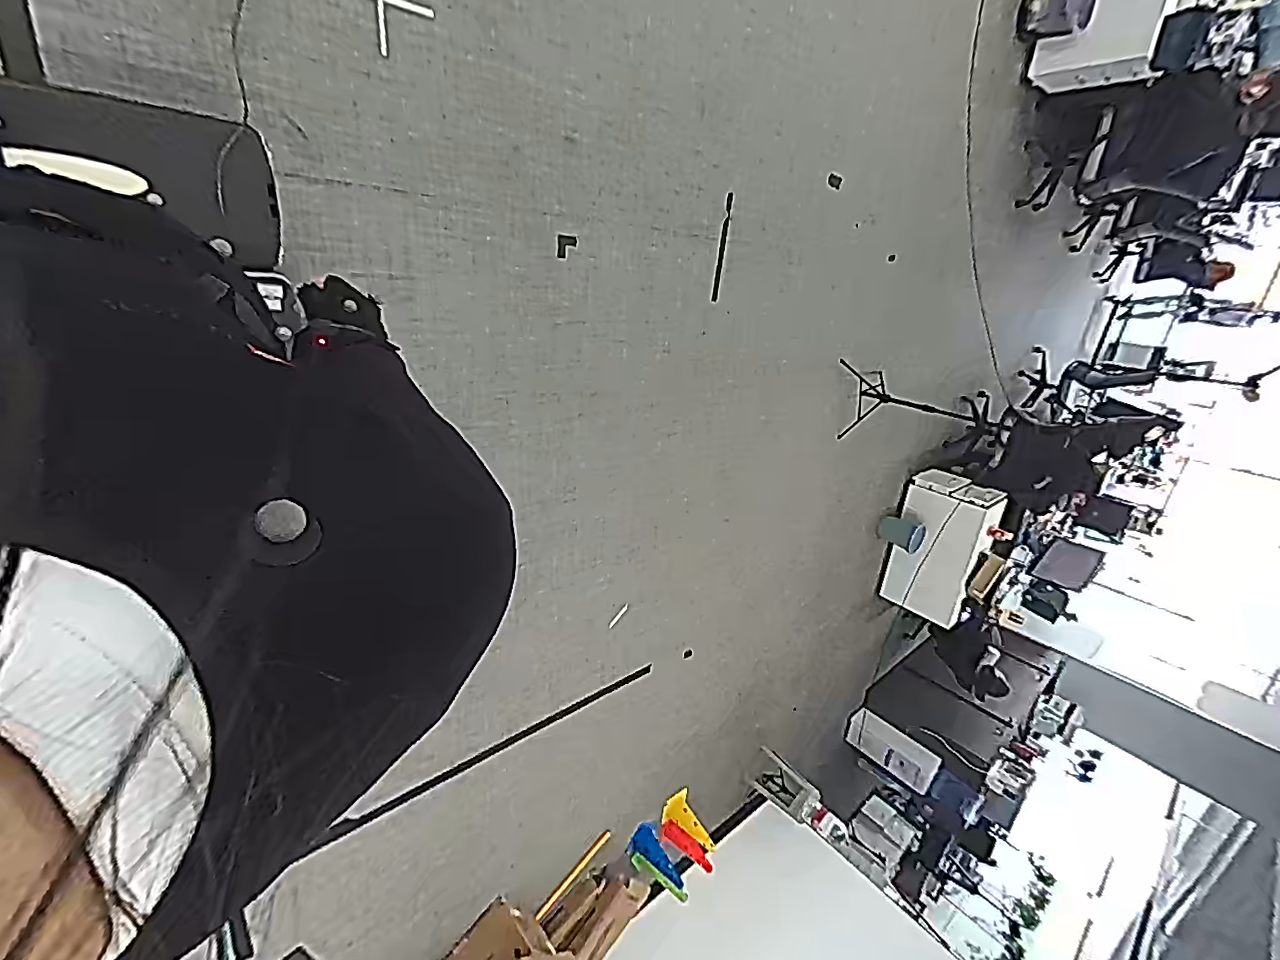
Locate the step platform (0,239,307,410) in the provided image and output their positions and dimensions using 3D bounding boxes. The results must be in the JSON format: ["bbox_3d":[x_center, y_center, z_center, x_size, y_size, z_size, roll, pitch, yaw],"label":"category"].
[{"bbox_3d":[-1.035,-0.299,1.030,0.684,0.204,0.286,-13,117,-38],"label":"step platform"}]
